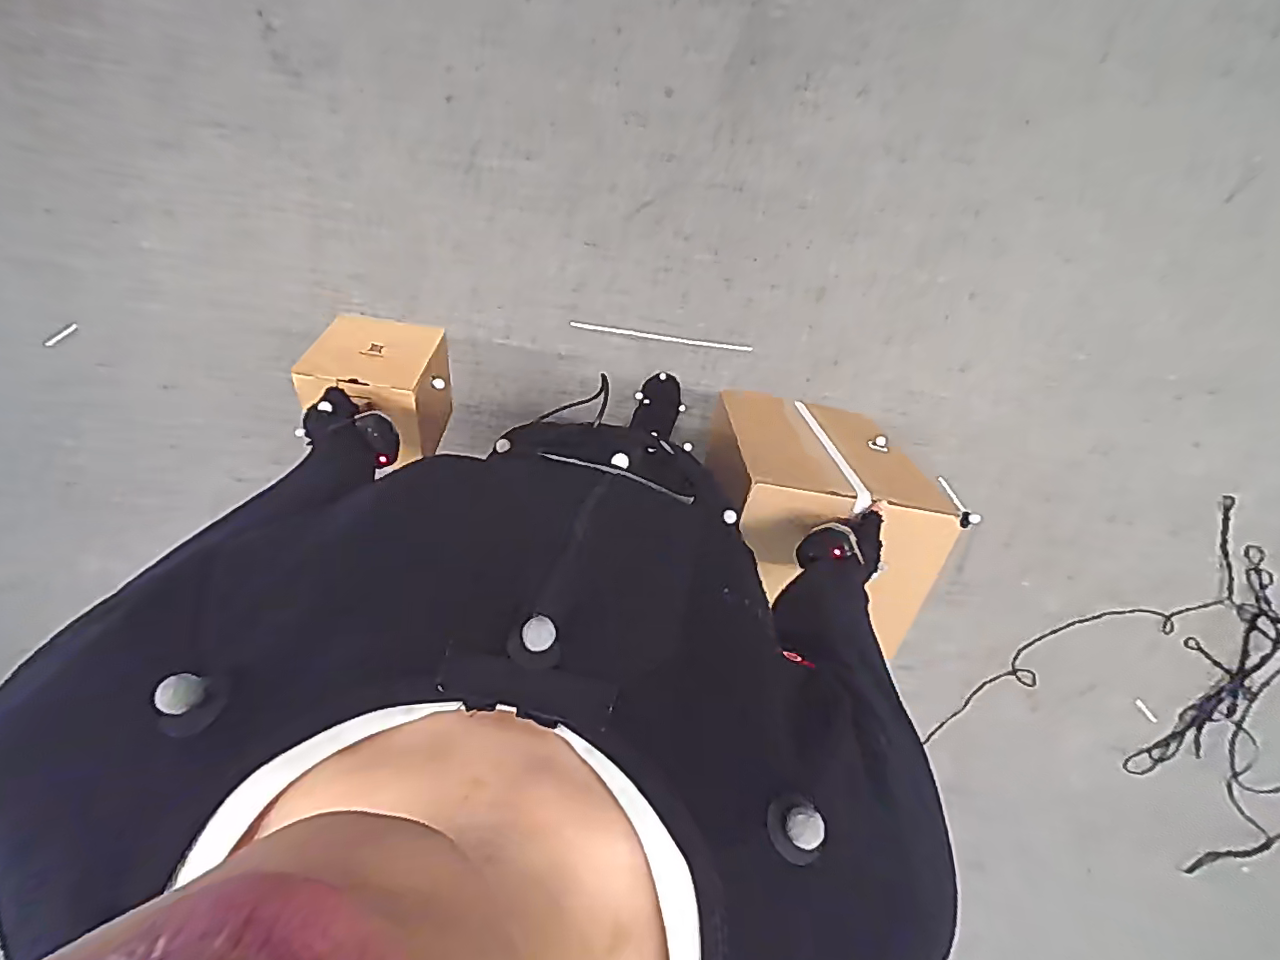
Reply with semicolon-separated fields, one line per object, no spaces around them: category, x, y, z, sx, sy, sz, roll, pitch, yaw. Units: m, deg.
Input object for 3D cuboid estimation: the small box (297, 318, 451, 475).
small box;-0.410;-0.134;0.872;0.168;0.179;0.176;7;133;-6
